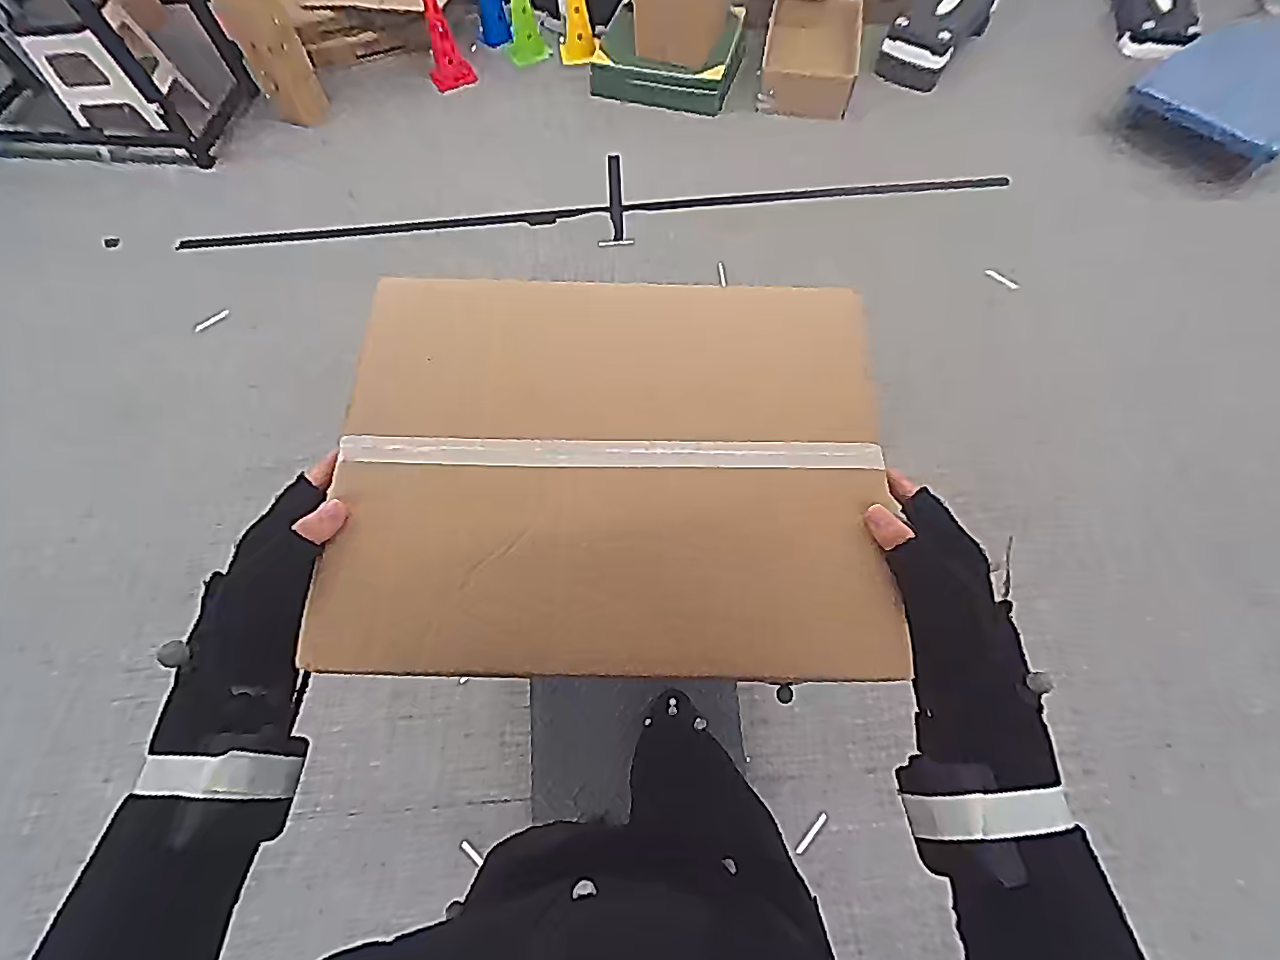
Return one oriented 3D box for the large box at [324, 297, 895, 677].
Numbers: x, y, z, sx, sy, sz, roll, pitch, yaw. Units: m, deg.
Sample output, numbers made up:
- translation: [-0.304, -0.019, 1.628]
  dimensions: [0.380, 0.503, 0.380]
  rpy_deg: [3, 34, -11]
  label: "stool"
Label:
- translation: [-0.020, 0.034, 0.561]
  dimensions: [0.408, 0.320, 0.320]
  rpy_deg: [1, 70, 0]
  label: "large box"
